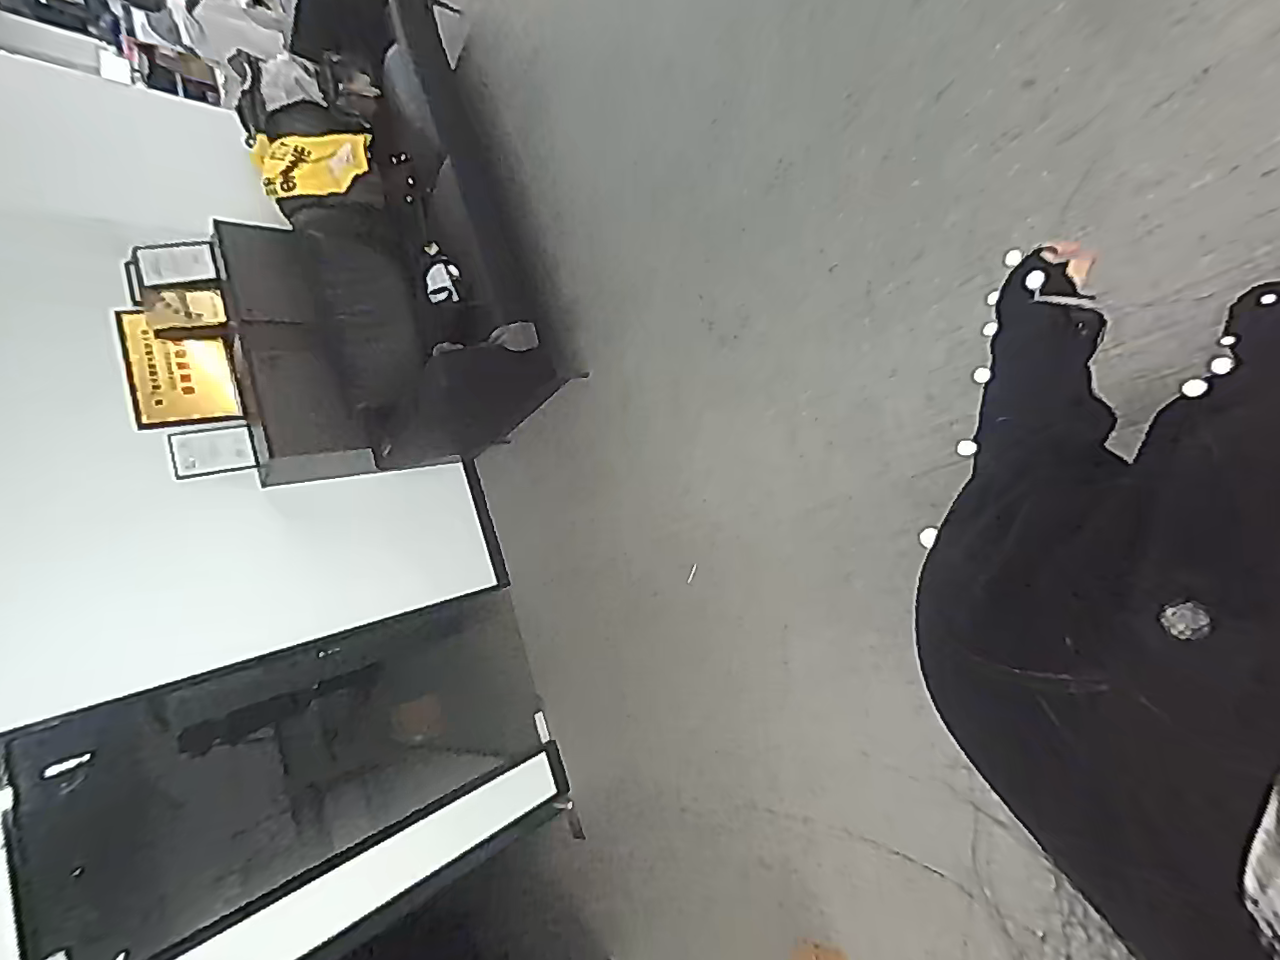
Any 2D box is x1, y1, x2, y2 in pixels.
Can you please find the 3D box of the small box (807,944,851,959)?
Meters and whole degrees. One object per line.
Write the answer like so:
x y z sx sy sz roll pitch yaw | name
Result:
0.652 1.727 1.817 0.168 0.176 0.179 -20 83 48 | small box
